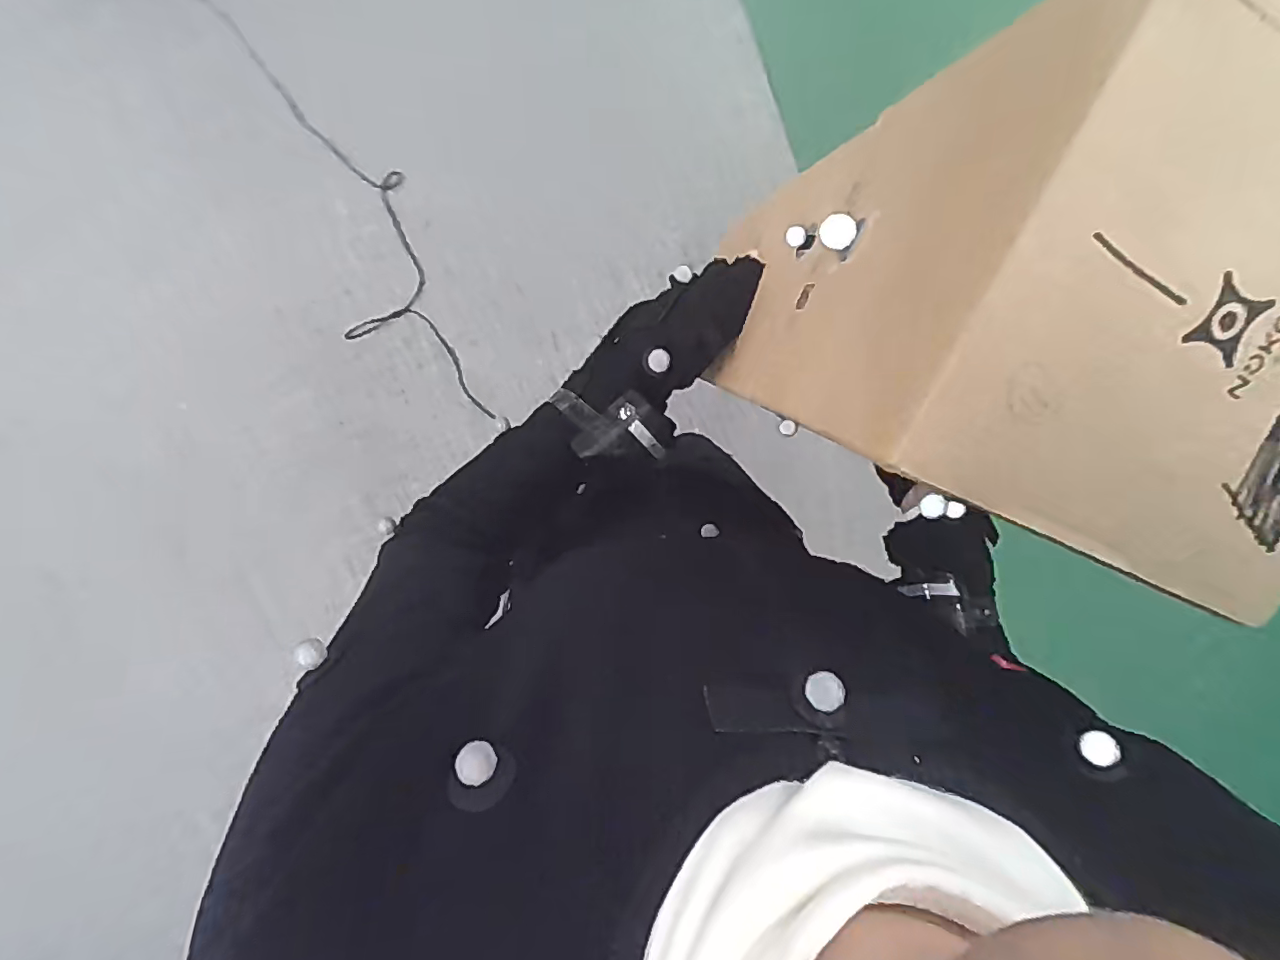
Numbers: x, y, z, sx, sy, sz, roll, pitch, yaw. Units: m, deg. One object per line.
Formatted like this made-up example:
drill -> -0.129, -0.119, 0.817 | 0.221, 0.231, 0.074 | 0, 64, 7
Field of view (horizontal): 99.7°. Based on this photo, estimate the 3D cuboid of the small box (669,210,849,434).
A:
small box -> 0.147, -0.167, 0.564 | 0.179, 0.176, 0.168 | 21, 102, -10
